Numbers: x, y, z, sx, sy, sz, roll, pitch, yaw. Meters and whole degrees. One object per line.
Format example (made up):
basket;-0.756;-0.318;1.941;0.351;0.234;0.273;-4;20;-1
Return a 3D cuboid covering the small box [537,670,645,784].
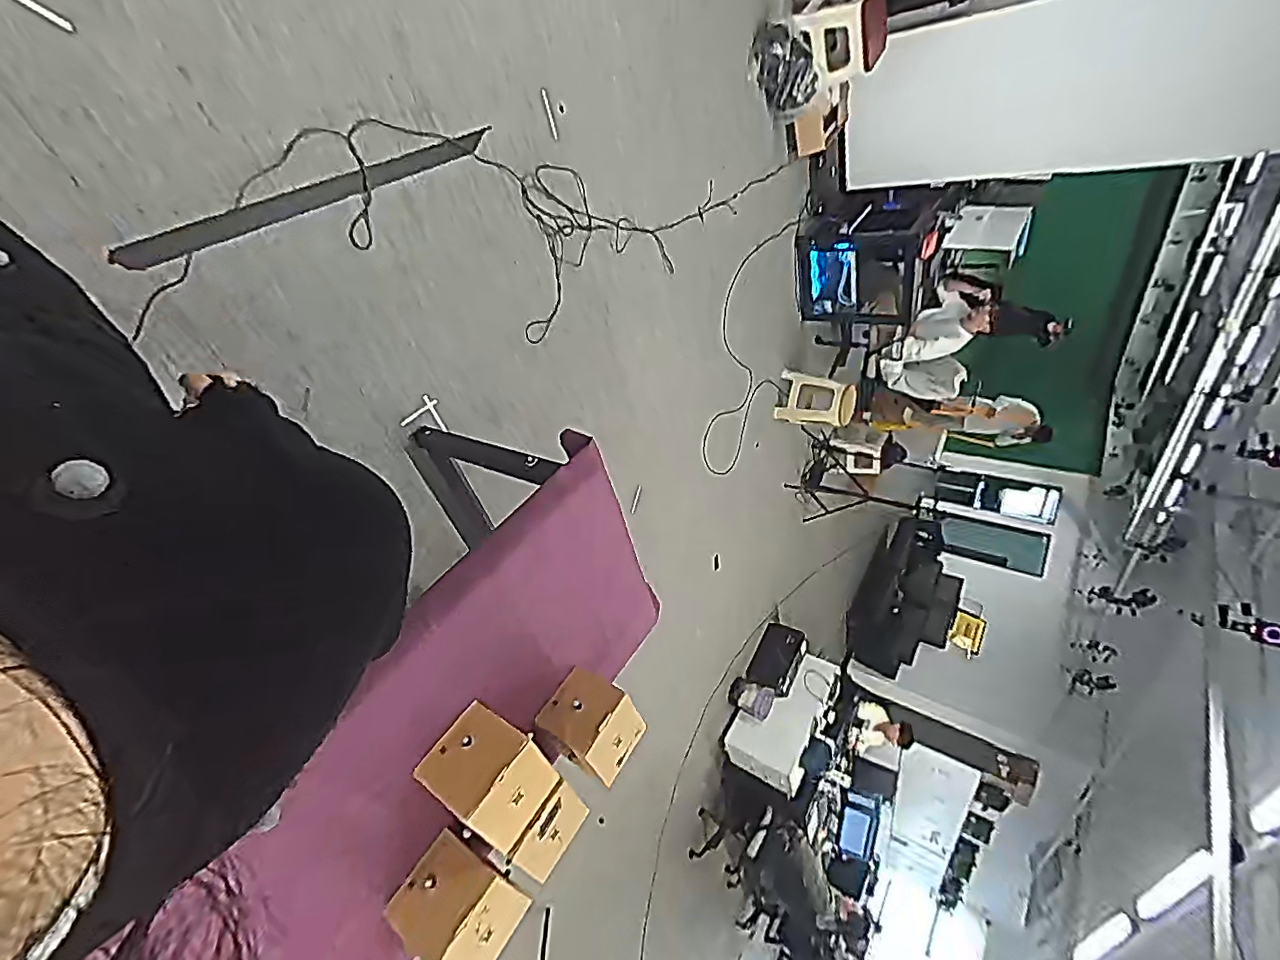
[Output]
small box;-0.120;0.587;1.308;0.168;0.176;0.179;-49;135;-33
